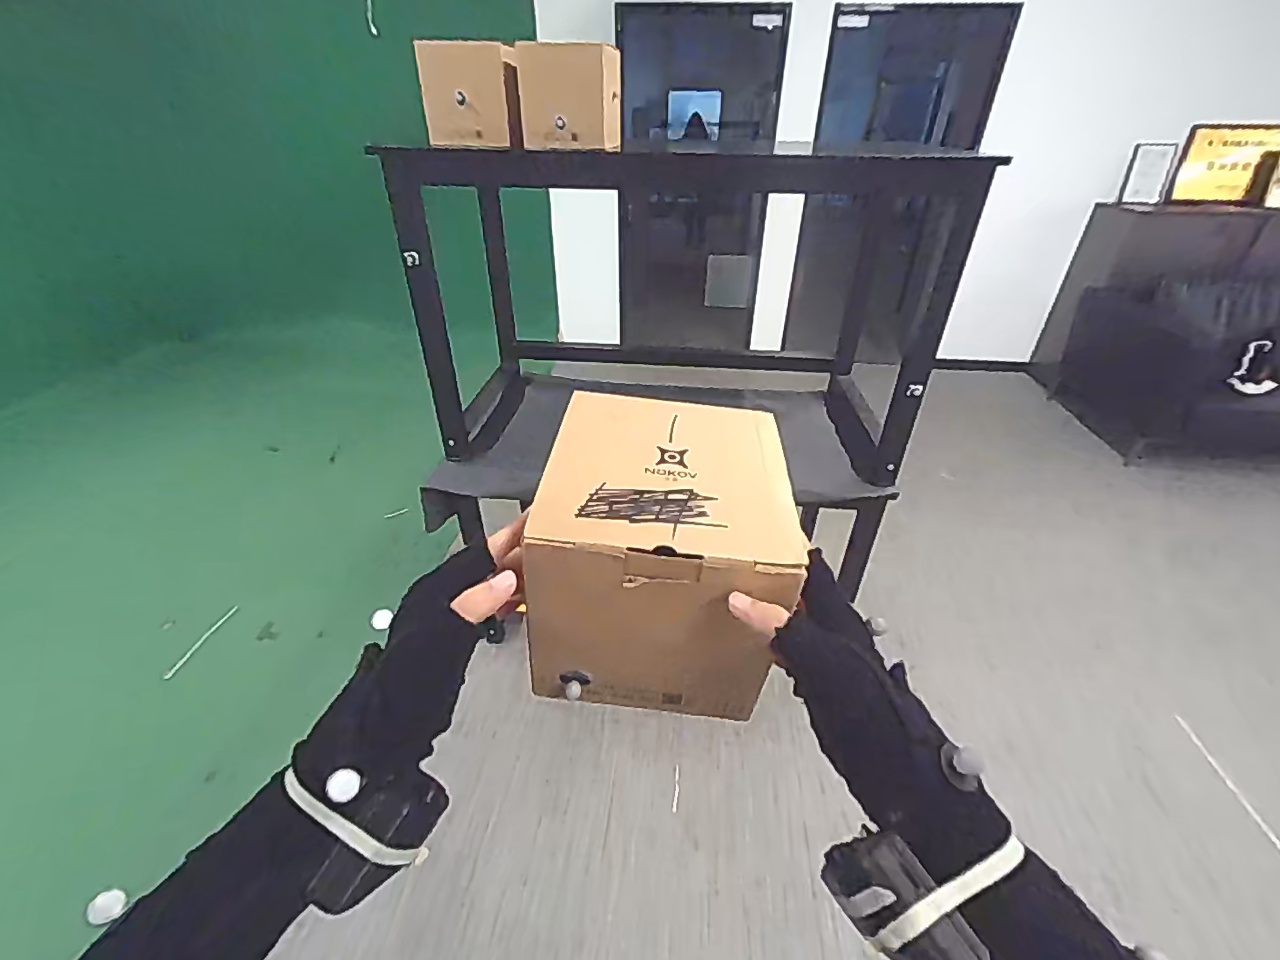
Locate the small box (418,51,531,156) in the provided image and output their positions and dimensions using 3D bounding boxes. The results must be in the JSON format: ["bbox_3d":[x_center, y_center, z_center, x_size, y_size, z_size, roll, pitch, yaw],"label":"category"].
[{"bbox_3d":[-0.330,-0.774,1.121,0.168,0.176,0.179,5,33,4],"label":"small box"}]

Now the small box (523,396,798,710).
[{"bbox_3d":[0.014,0.055,0.427,0.168,0.176,0.179,7,36,1],"label":"small box"}]
